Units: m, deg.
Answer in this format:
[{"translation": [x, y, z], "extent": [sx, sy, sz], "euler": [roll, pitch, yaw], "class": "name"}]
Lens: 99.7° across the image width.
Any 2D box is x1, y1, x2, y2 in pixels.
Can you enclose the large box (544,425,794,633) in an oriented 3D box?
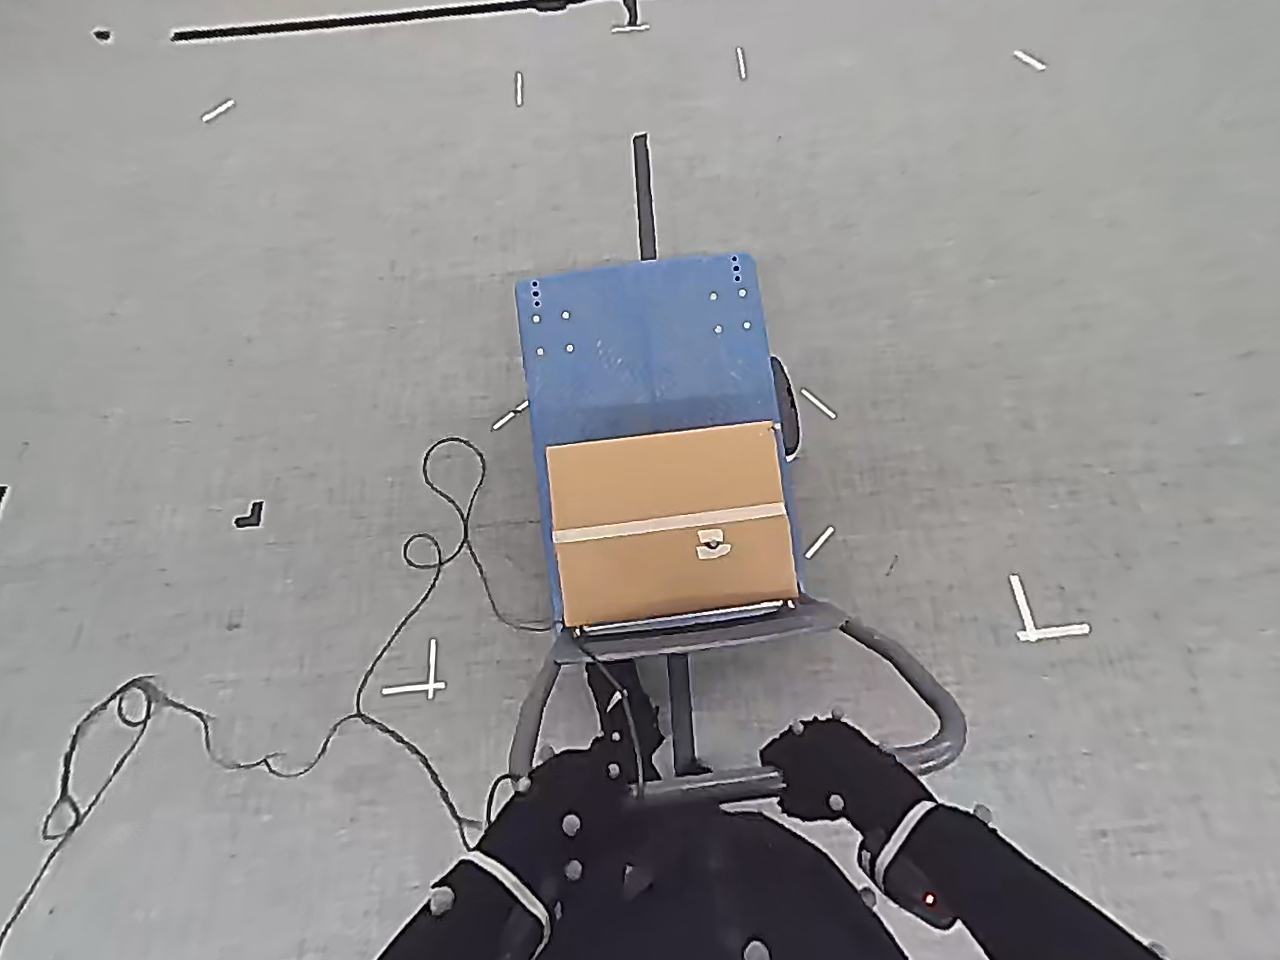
[{"translation": [0.044, 0.095, 1.077], "extent": [0.408, 0.320, 0.320], "euler": [-7, 86, -2], "class": "large box"}]
